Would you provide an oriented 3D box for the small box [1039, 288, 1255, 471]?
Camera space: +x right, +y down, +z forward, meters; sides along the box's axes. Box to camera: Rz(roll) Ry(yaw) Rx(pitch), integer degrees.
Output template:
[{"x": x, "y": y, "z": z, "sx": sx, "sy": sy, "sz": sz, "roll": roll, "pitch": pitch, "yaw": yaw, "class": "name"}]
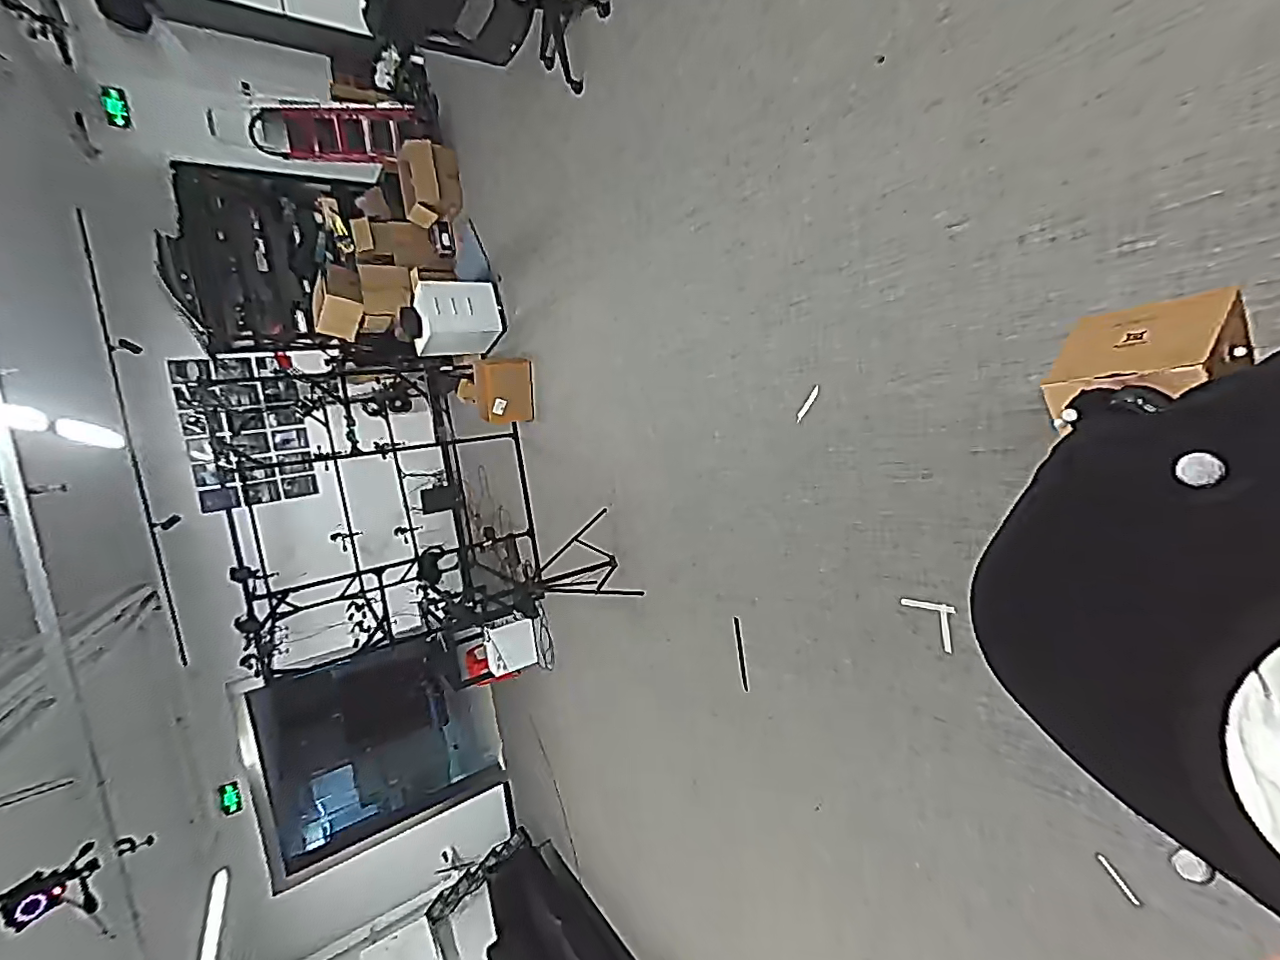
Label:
[{"x": 0.699, "y": -0.126, "z": 0.744, "sx": 0.176, "sy": 0.179, "sz": 0.168, "roll": 54, "pitch": 157, "yaw": -20, "class": "small box"}]
